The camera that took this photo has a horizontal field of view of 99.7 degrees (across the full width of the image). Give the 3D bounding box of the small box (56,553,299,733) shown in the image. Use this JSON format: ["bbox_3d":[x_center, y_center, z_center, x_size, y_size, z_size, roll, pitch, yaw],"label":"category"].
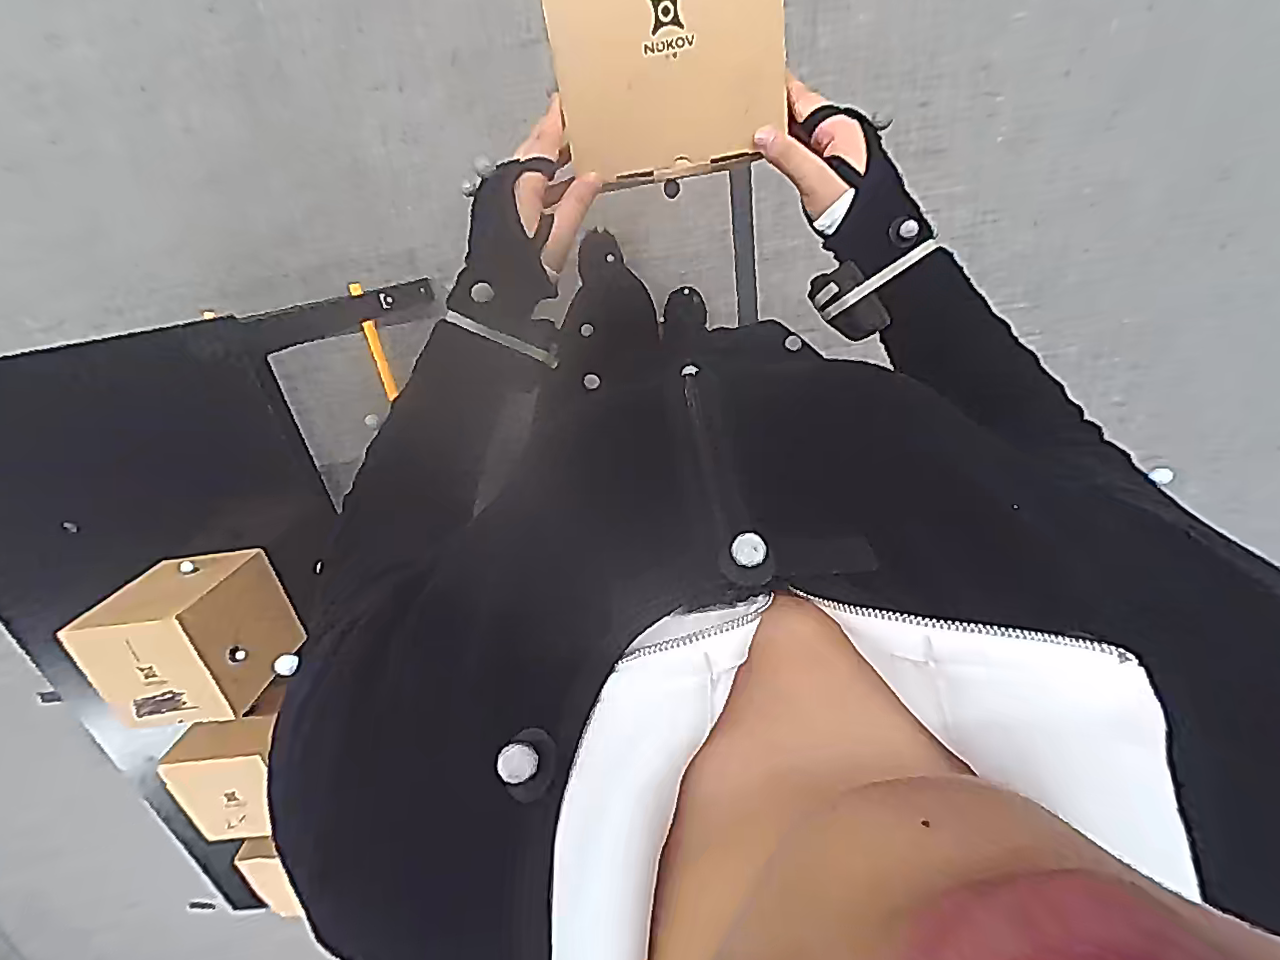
[{"bbox_3d":[-0.637,0.228,0.776,0.168,0.176,0.179,-8,114,4],"label":"small box"}]

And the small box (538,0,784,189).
[{"bbox_3d":[0.014,-0.349,0.441,0.168,0.176,0.179,-10,118,2],"label":"small box"}]
